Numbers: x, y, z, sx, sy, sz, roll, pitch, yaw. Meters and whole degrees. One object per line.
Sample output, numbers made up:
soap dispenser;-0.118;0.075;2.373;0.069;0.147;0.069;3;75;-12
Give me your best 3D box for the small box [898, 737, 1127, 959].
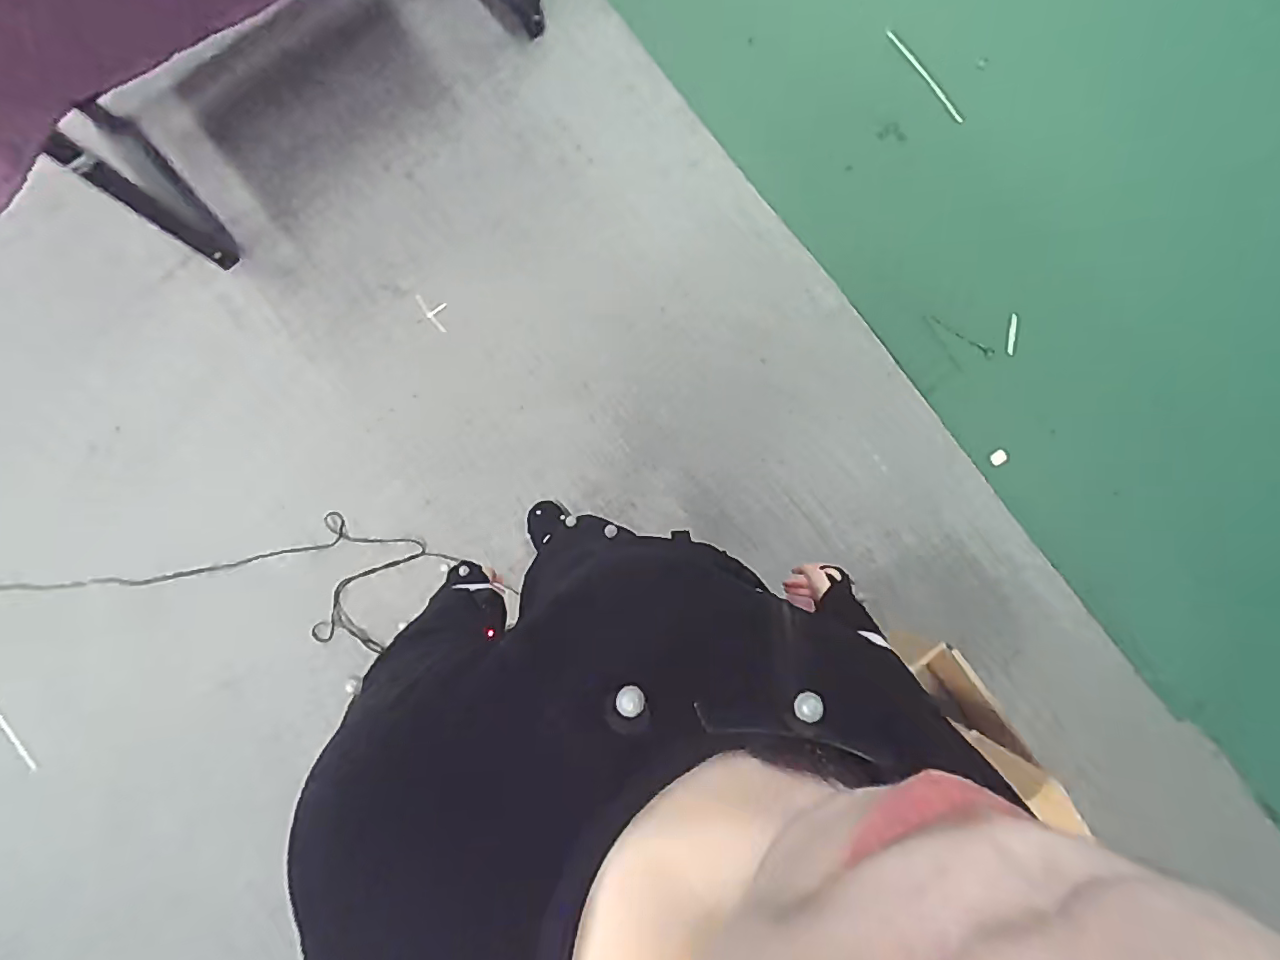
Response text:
small box;0.516;0.513;0.776;0.168;0.176;0.179;-30;87;-4
